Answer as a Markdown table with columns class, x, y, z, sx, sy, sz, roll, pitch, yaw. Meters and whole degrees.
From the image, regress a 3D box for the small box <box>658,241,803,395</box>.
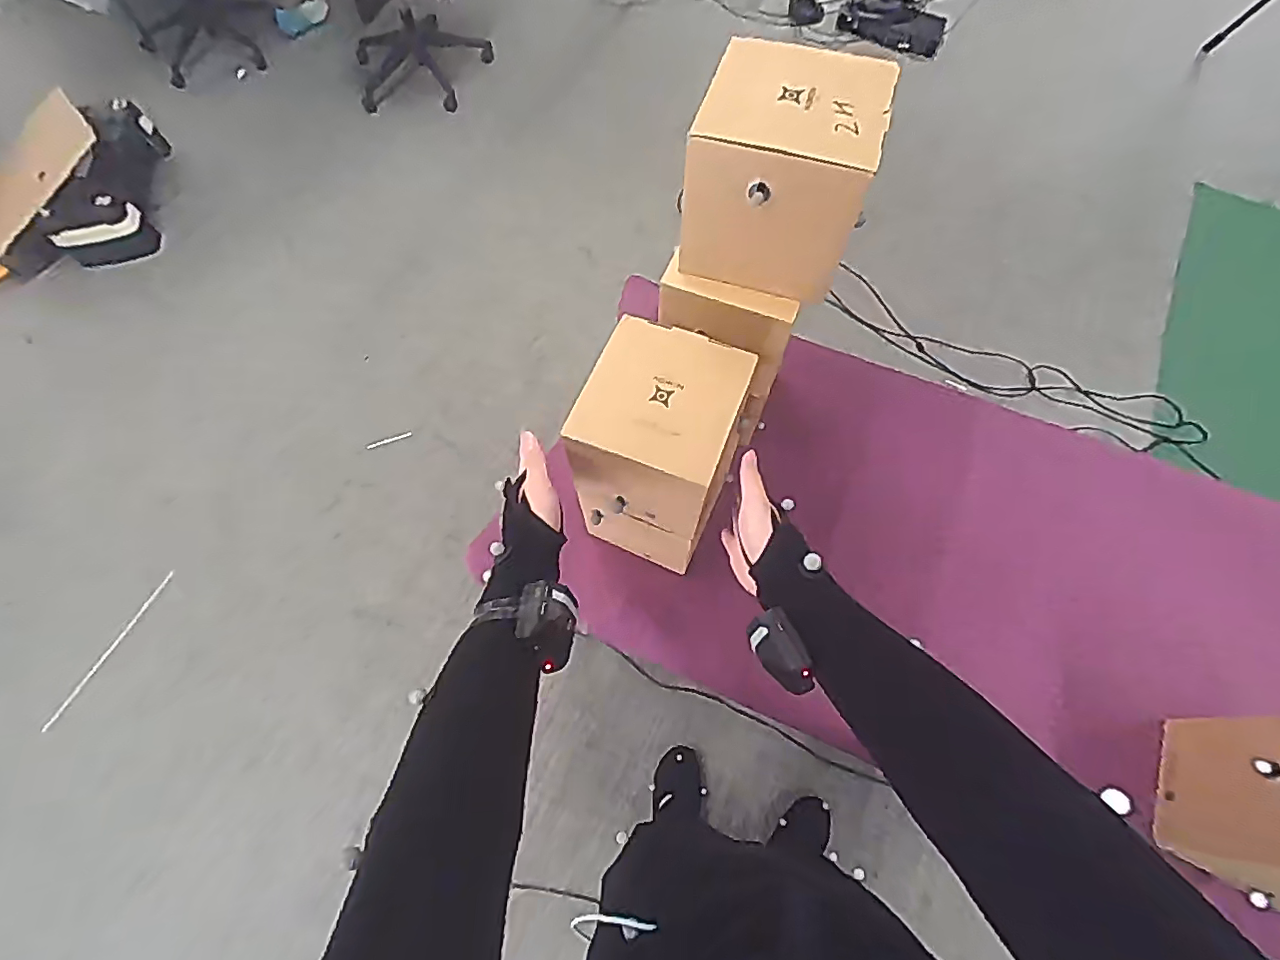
| class | x | y | z | sx | sy | sz | roll | pitch | yaw |
| --- | --- | --- | --- | --- | --- | --- | --- | --- | --- |
| small box | 0.131 | -0.244 | 0.735 | 0.168 | 0.176 | 0.179 | 20 | 68 | 9 |

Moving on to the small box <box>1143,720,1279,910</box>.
| class | x | y | z | sx | sy | sz | roll | pitch | yaw |
| --- | --- | --- | --- | --- | --- | --- | --- | --- | --- |
| small box | 0.752 | 0.395 | 0.625 | 0.179 | 0.176 | 0.168 | 26 | 68 | 12 |

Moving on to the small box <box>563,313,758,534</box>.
| class | x | y | z | sx | sy | sz | roll | pitch | yaw |
| --- | --- | --- | --- | --- | --- | --- | --- | --- | --- |
| small box | 0.024 | -0.061 | 0.653 | 0.168 | 0.176 | 0.179 | 21 | 68 | 9 |

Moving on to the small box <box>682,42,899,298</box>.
| class | x | y | z | sx | sy | sz | roll | pitch | yaw |
| --- | --- | --- | --- | --- | --- | --- | --- | --- | --- |
| small box | 0.151 | -0.328 | 0.592 | 0.179 | 0.176 | 0.168 | 17 | 68 | 8 |
